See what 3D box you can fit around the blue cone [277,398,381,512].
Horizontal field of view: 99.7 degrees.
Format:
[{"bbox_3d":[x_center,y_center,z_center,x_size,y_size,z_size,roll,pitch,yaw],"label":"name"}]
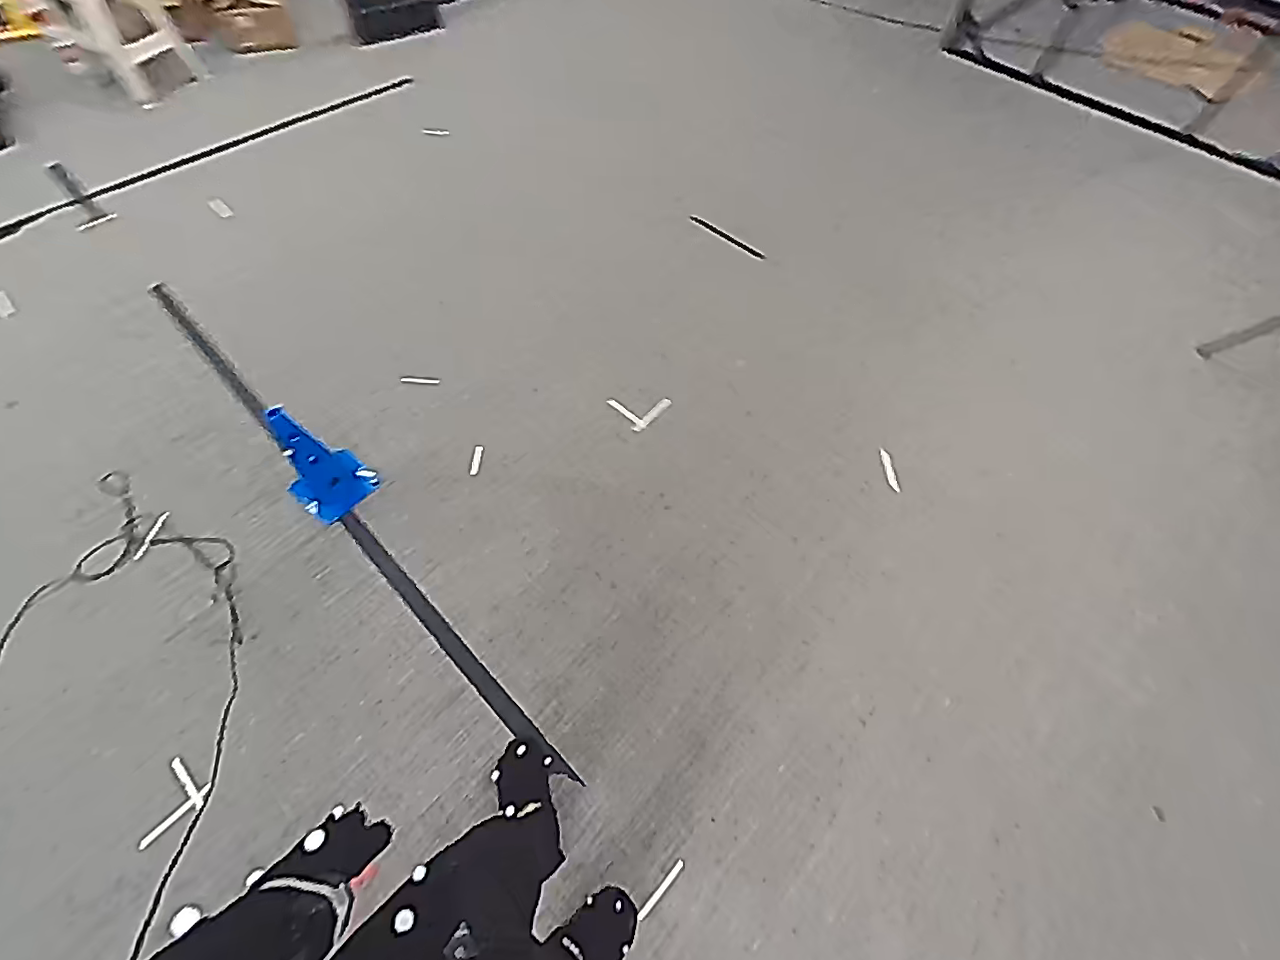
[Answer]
[{"bbox_3d":[-0.898,-0.088,1.489,0.193,0.380,0.192,38,63,17],"label":"blue cone"}]
